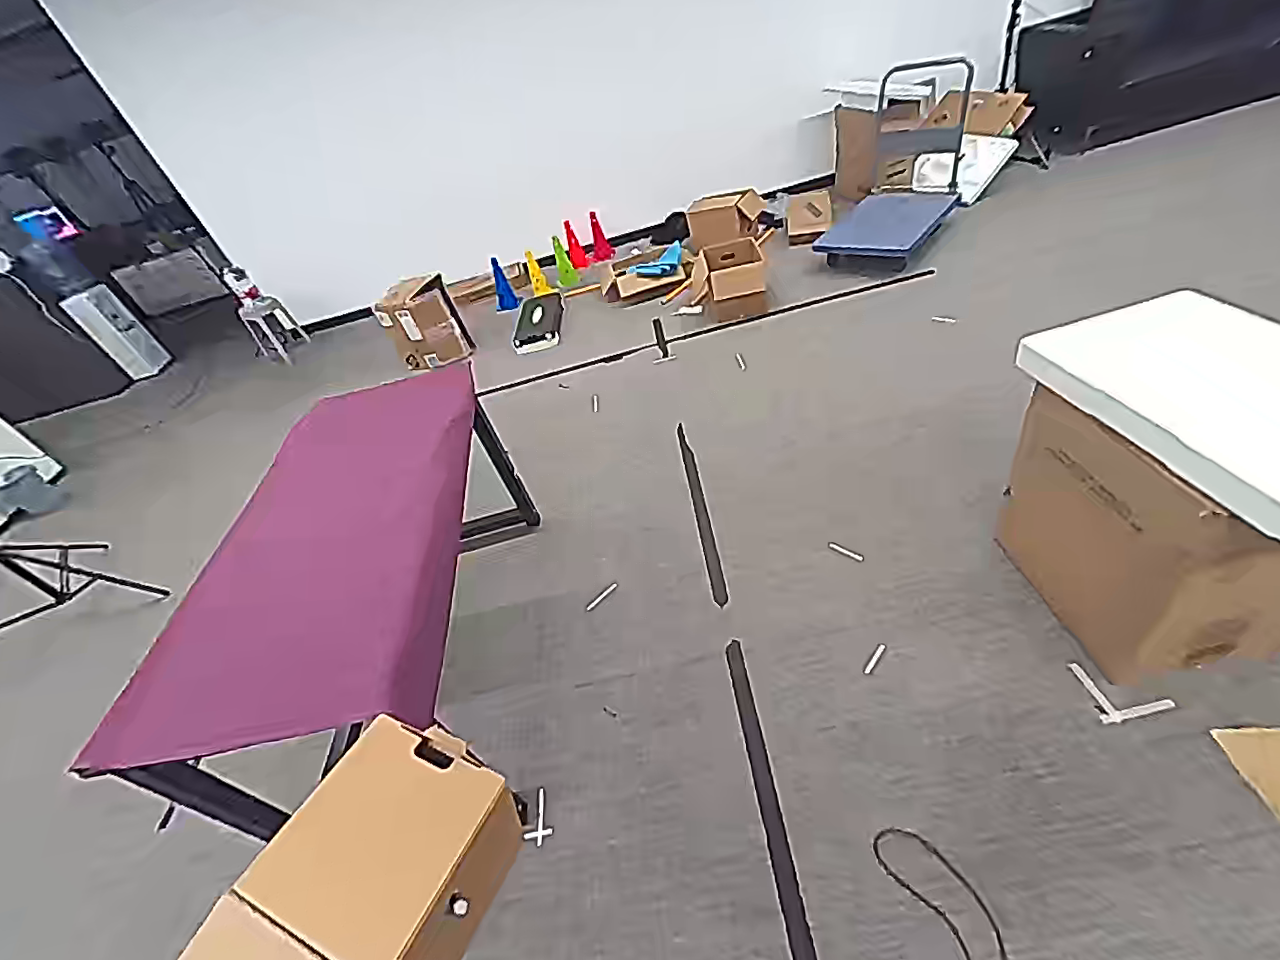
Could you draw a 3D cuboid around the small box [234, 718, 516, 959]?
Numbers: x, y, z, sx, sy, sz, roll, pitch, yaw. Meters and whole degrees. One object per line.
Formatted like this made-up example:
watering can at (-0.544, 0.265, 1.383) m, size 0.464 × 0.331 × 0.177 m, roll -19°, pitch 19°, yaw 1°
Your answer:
small box at (-0.243, 0.389, 0.547) m, size 0.168 × 0.176 × 0.179 m, roll 17°, pitch 41°, yaw 18°
